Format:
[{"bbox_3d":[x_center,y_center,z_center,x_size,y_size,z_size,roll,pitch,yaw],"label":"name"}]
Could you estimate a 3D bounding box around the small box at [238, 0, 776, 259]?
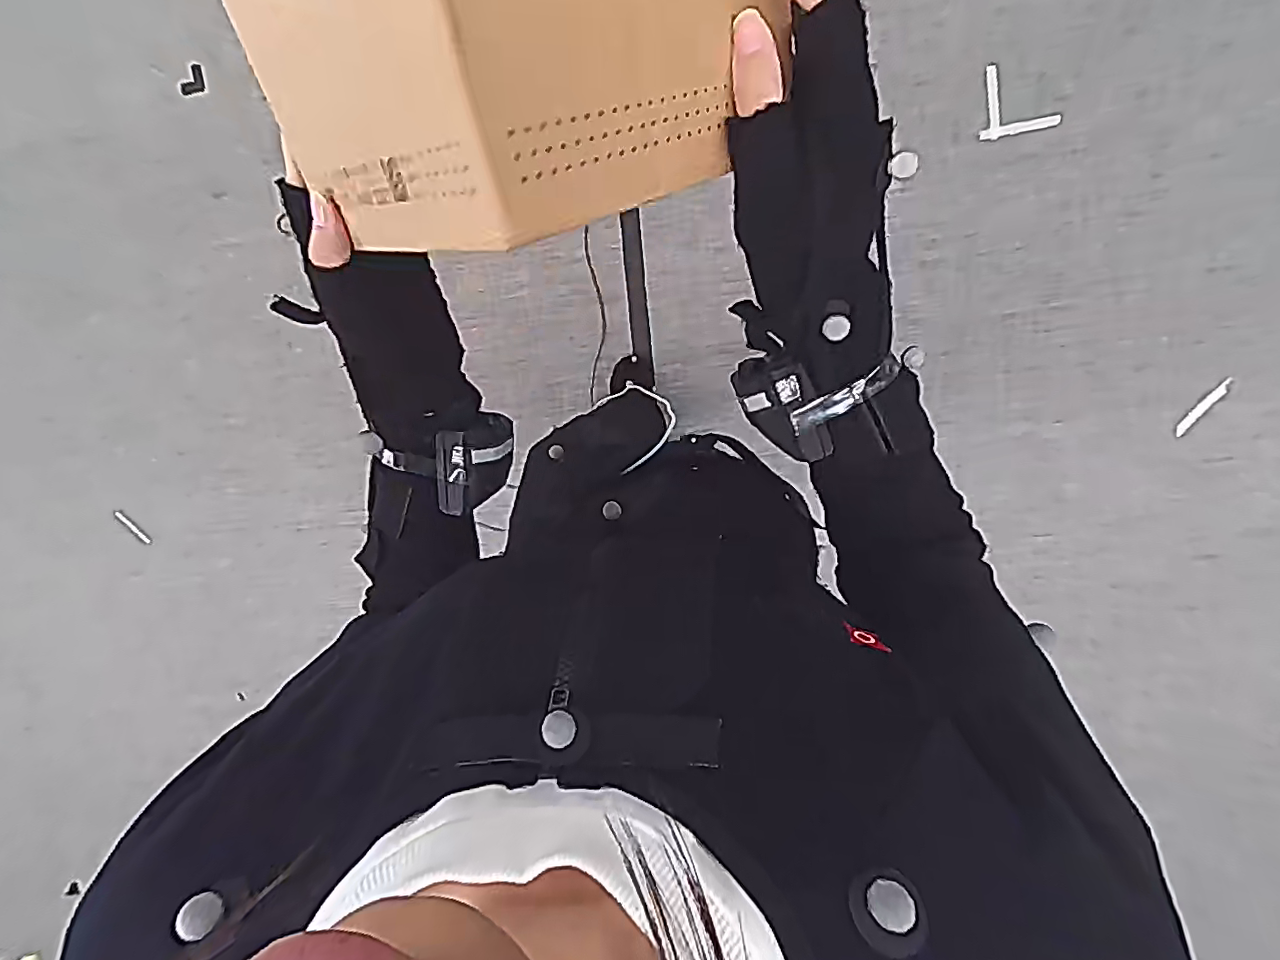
[{"bbox_3d":[-0.053,-0.203,0.232,0.168,0.179,0.176,21,136,40],"label":"small box"}]
